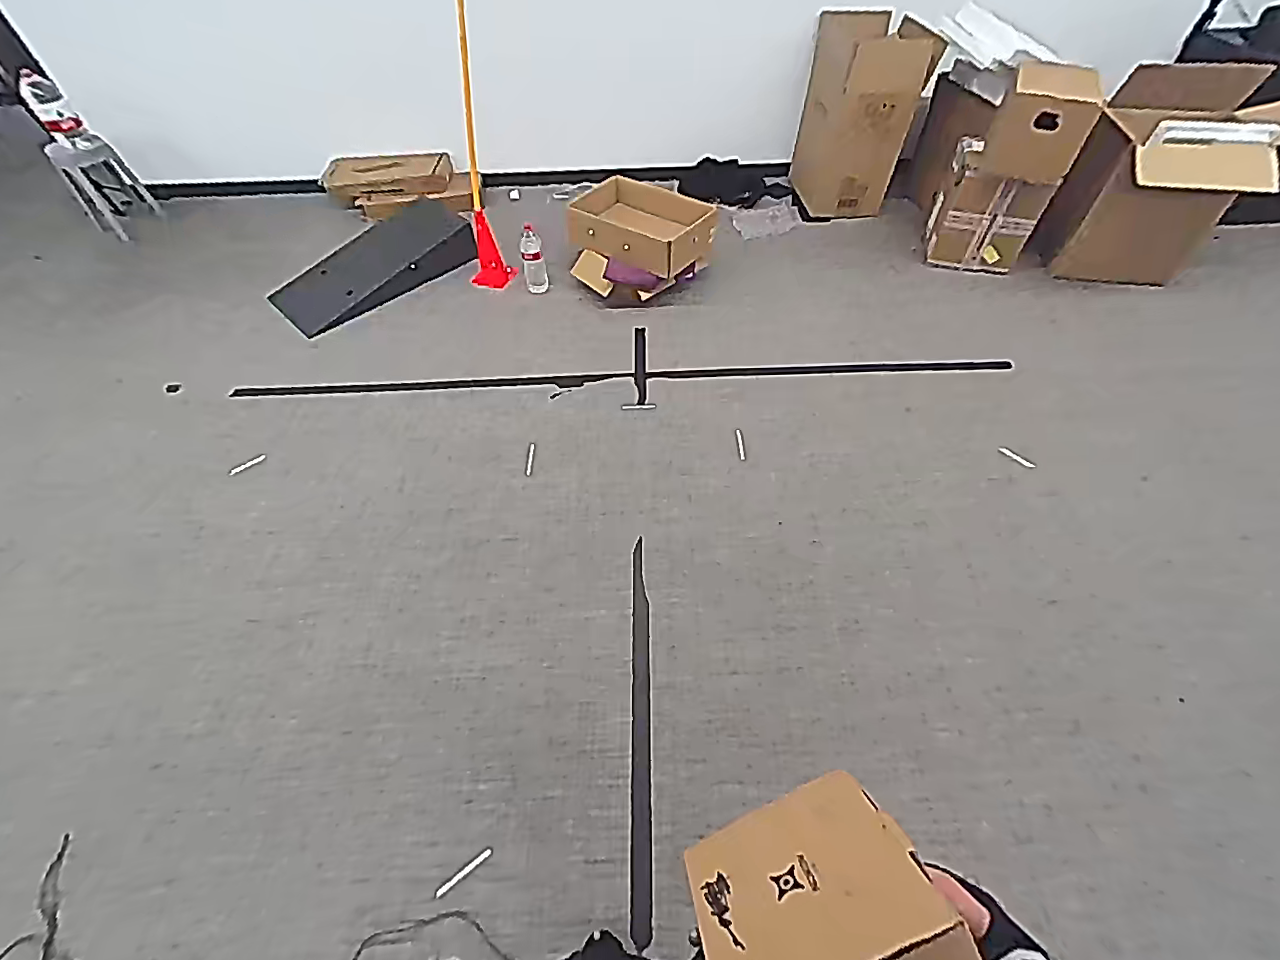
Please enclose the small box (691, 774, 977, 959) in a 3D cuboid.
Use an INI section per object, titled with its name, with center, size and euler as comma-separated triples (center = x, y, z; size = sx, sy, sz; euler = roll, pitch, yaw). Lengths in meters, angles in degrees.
[small box]
center = 0.166, 0.399, 0.449
size = 0.179, 0.168, 0.176
euler = -25, 95, -3
